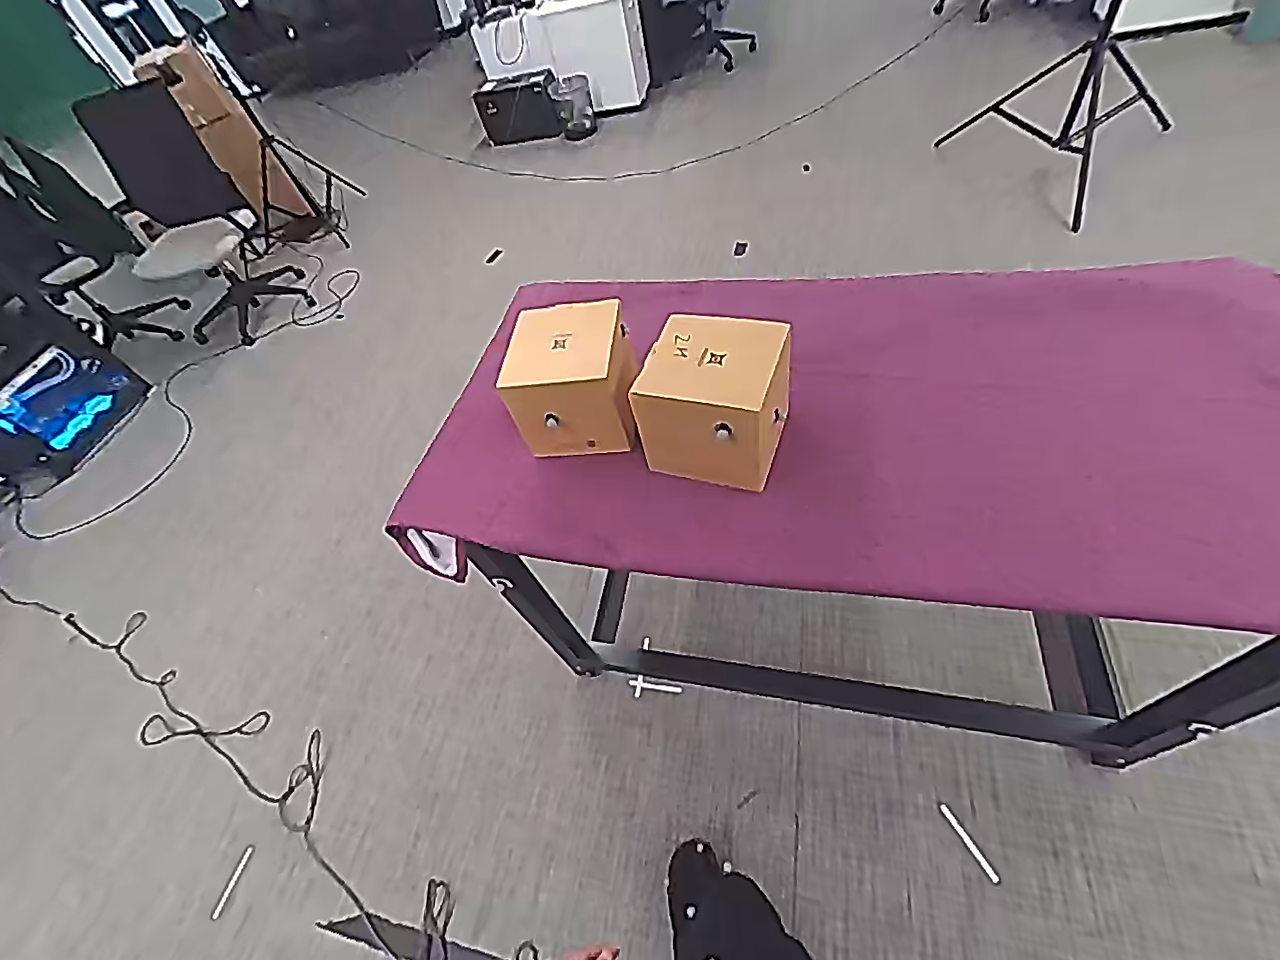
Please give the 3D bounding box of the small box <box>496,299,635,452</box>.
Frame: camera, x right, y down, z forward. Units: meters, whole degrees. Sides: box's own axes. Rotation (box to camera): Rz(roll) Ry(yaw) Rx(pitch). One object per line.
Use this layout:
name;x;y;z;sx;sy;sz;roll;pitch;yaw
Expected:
small box;-0.105;-0.157;0.864;0.168;0.176;0.179;-4;53;12

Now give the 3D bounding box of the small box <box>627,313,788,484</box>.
small box;0.106;-0.114;0.776;0.179;0.176;0.168;11;56;22
